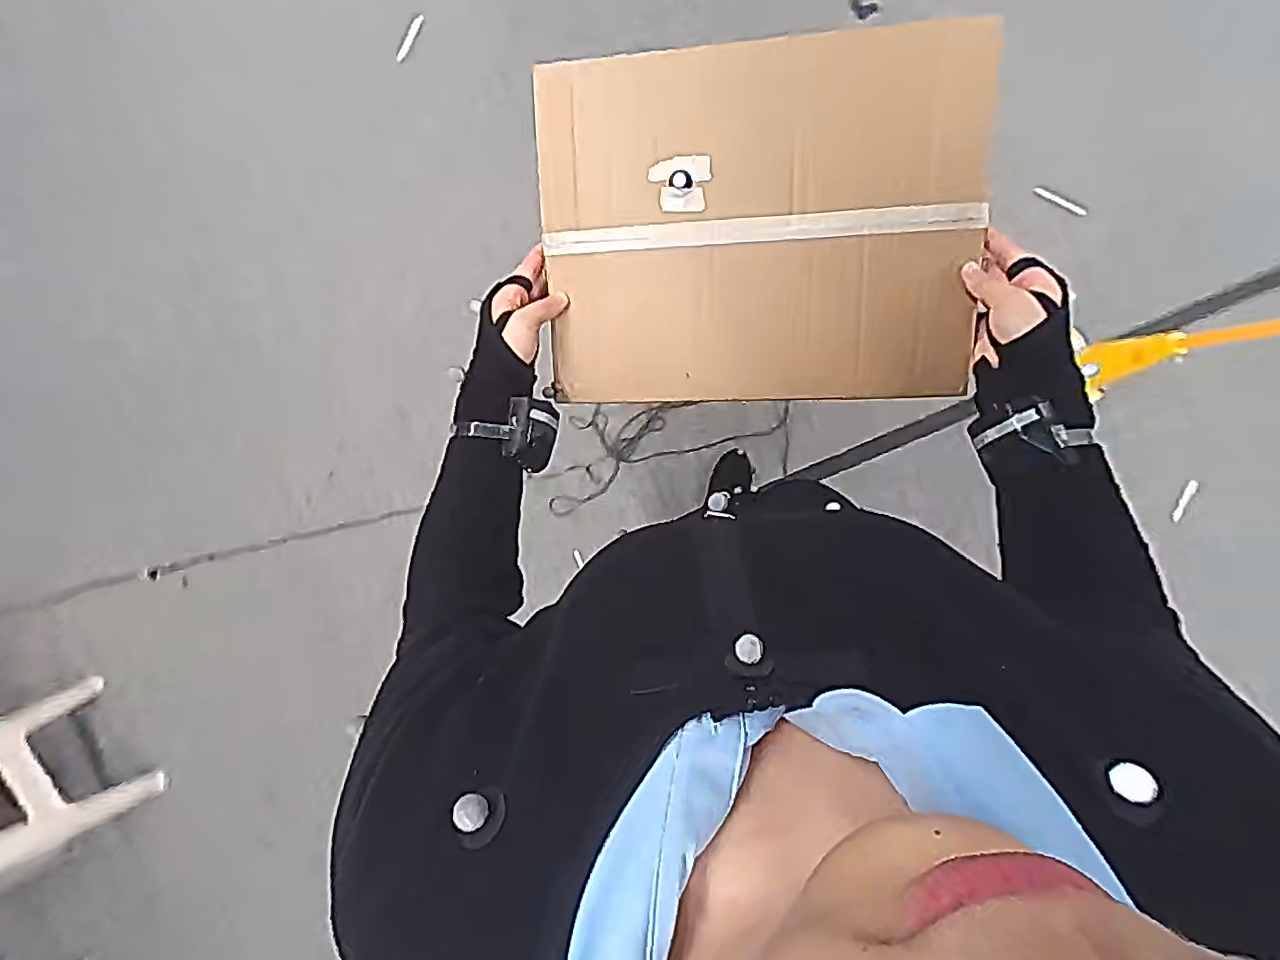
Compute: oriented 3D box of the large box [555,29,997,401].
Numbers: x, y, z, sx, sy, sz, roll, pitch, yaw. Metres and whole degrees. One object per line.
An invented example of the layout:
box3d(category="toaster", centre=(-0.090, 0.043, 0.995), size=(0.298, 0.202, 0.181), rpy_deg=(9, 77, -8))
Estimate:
box3d(category="large box", centre=(0.142, -0.268, 0.666), size=(0.408, 0.320, 0.320), rpy_deg=(1, 101, 9))
